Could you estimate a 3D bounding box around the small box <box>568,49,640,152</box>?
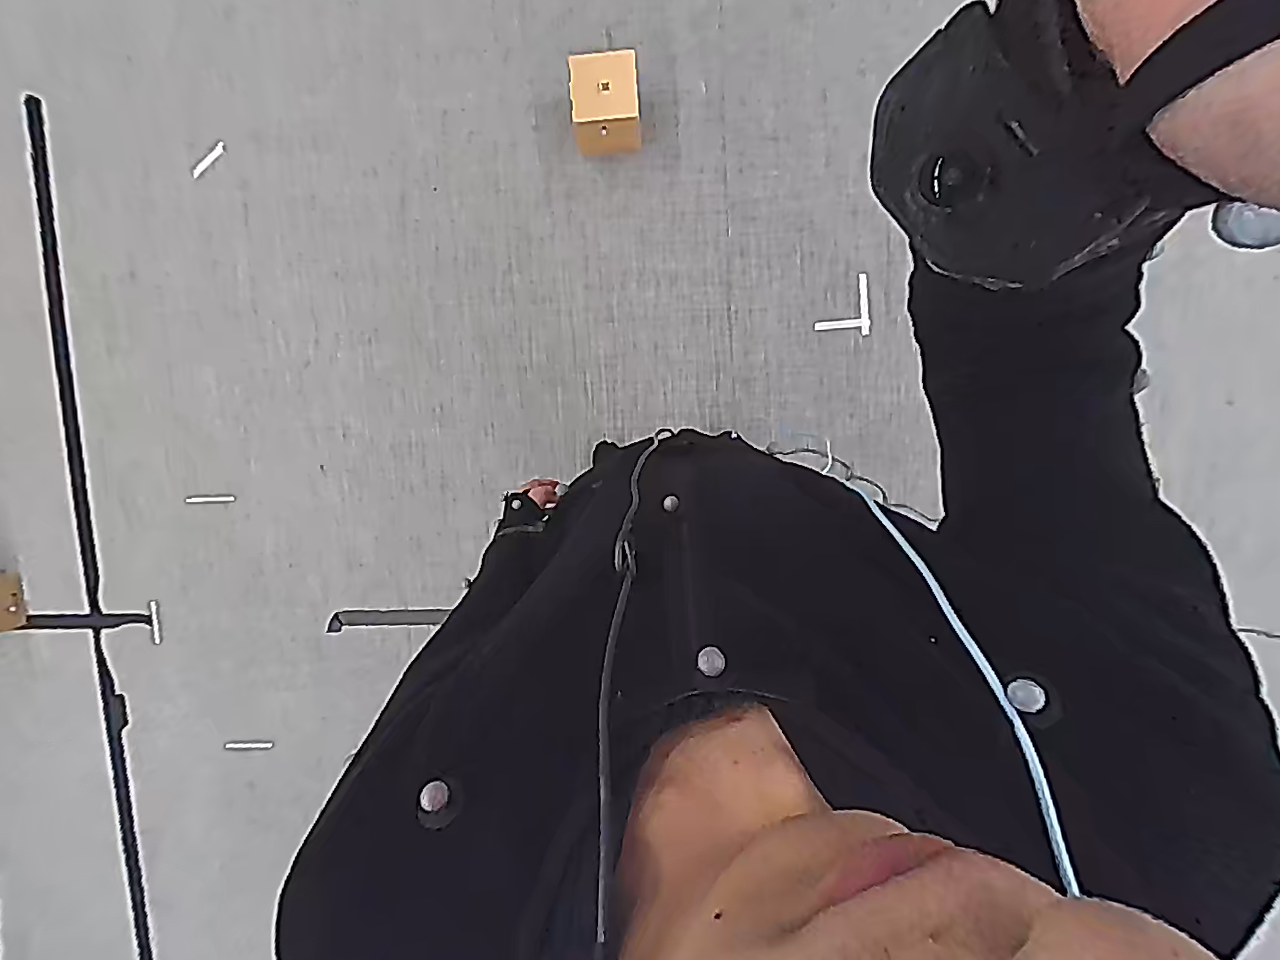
[{"bbox_3d":[-0.091,-1.027,1.475,0.179,0.176,0.168,-4,95,3],"label":"small box"}]
